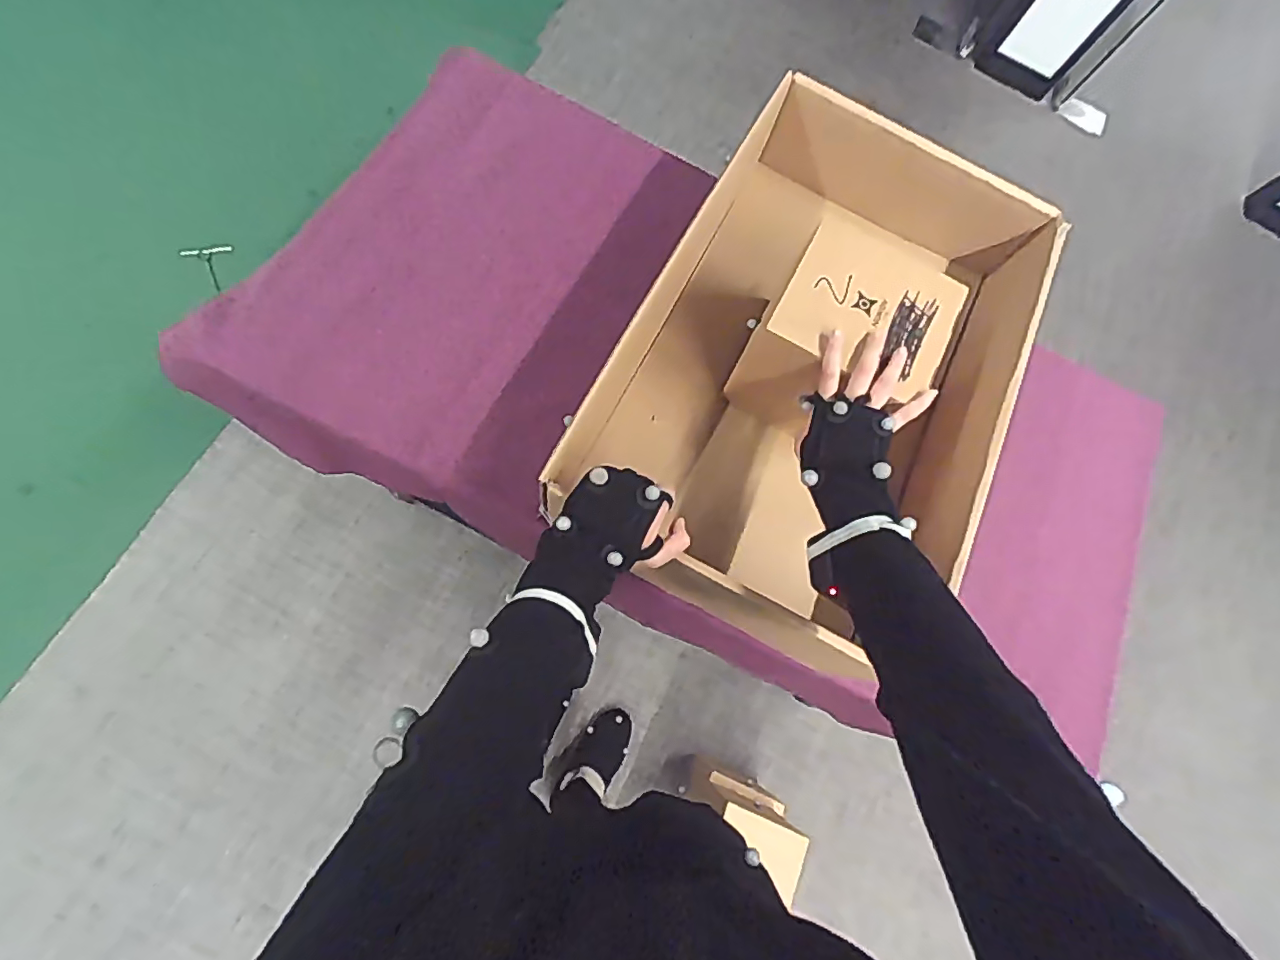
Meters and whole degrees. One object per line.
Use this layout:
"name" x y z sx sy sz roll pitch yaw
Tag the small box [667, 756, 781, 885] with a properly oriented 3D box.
"small box" 0.179 0.738 1.195 0.179 0.176 0.168 26 73 0
